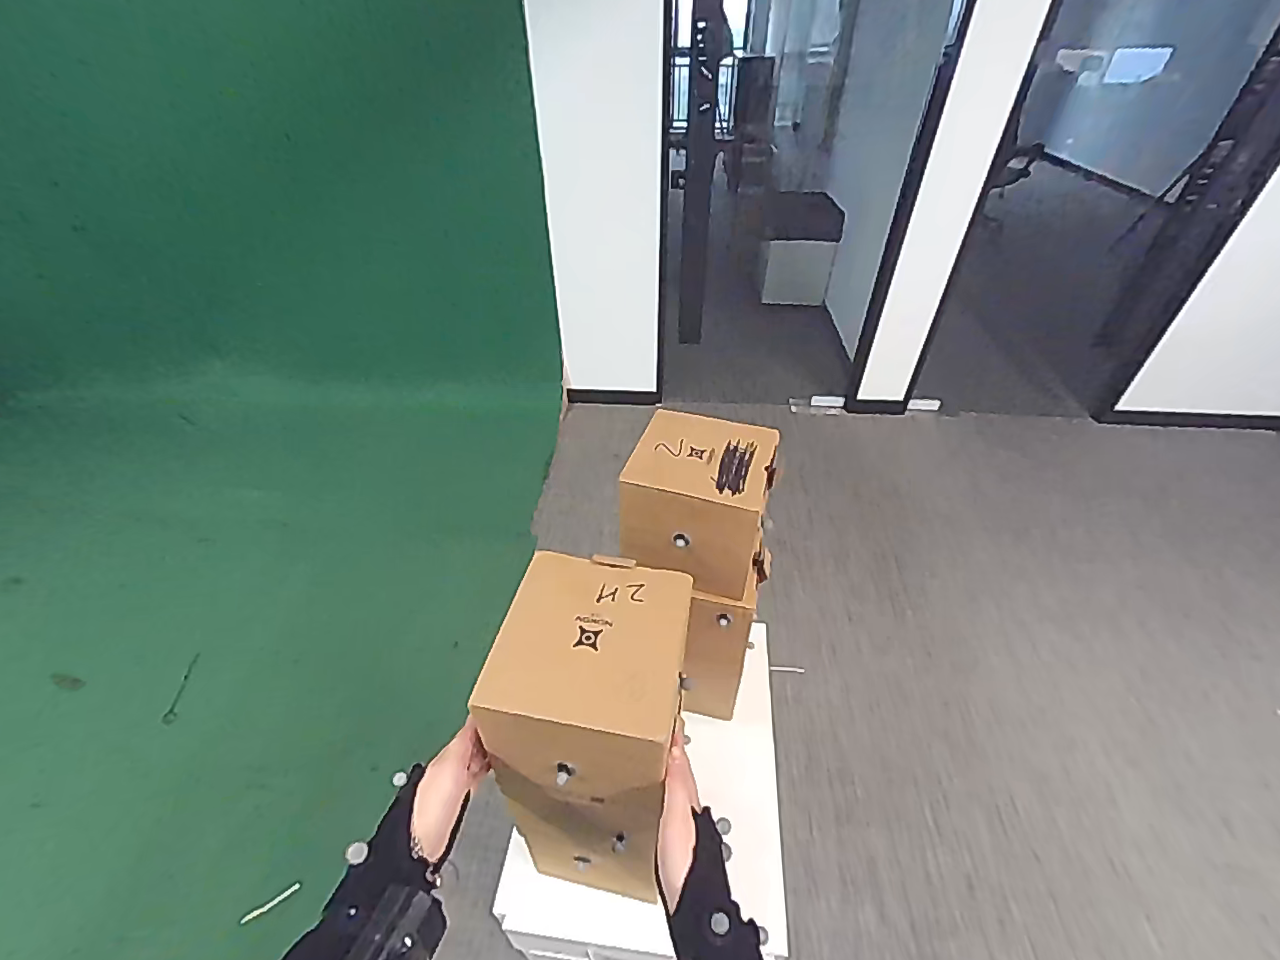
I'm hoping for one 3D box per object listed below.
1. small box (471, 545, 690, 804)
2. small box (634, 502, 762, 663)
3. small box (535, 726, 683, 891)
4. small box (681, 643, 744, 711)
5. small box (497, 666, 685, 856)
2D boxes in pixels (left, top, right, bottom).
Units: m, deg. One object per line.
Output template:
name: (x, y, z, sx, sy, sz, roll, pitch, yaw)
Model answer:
small box: (-0.045, 0.196, 0.548, 0.168, 0.176, 0.179, 8, 40, 8)
small box: (0.085, 0.160, 0.840, 0.179, 0.176, 0.168, 9, 42, 9)
small box: (-0.043, 0.444, 0.760, 0.179, 0.176, 0.168, 9, 41, 9)
small box: (0.091, 0.280, 0.949, 0.179, 0.176, 0.168, 9, 43, 11)
small box: (-0.047, 0.323, 0.652, 0.179, 0.176, 0.168, 7, 40, 9)
